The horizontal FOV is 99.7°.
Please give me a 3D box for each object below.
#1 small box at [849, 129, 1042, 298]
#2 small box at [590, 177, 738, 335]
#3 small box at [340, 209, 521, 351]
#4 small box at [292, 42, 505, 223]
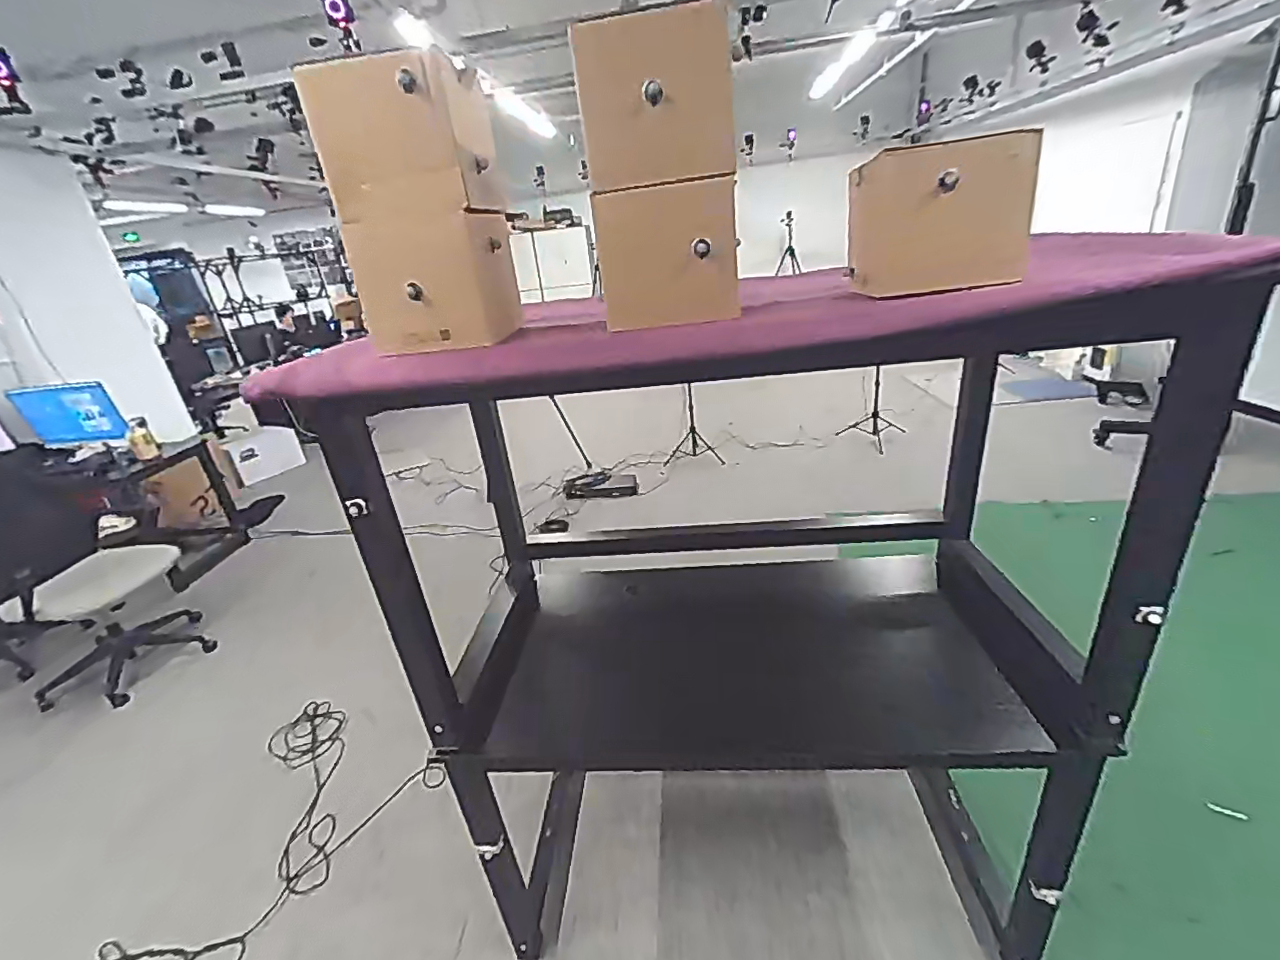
[{"bbox_3d":[0.387,-0.340,0.719,0.179,0.176,0.168,-3,22,8],"label":"small box"},{"bbox_3d":[0.041,-0.304,0.741,0.179,0.176,0.168,-5,24,6],"label":"small box"},{"bbox_3d":[-0.279,-0.282,0.770,0.168,0.176,0.179,-3,25,6],"label":"small box"},{"bbox_3d":[-0.294,-0.430,0.702,0.179,0.176,0.168,-4,26,5],"label":"small box"}]
